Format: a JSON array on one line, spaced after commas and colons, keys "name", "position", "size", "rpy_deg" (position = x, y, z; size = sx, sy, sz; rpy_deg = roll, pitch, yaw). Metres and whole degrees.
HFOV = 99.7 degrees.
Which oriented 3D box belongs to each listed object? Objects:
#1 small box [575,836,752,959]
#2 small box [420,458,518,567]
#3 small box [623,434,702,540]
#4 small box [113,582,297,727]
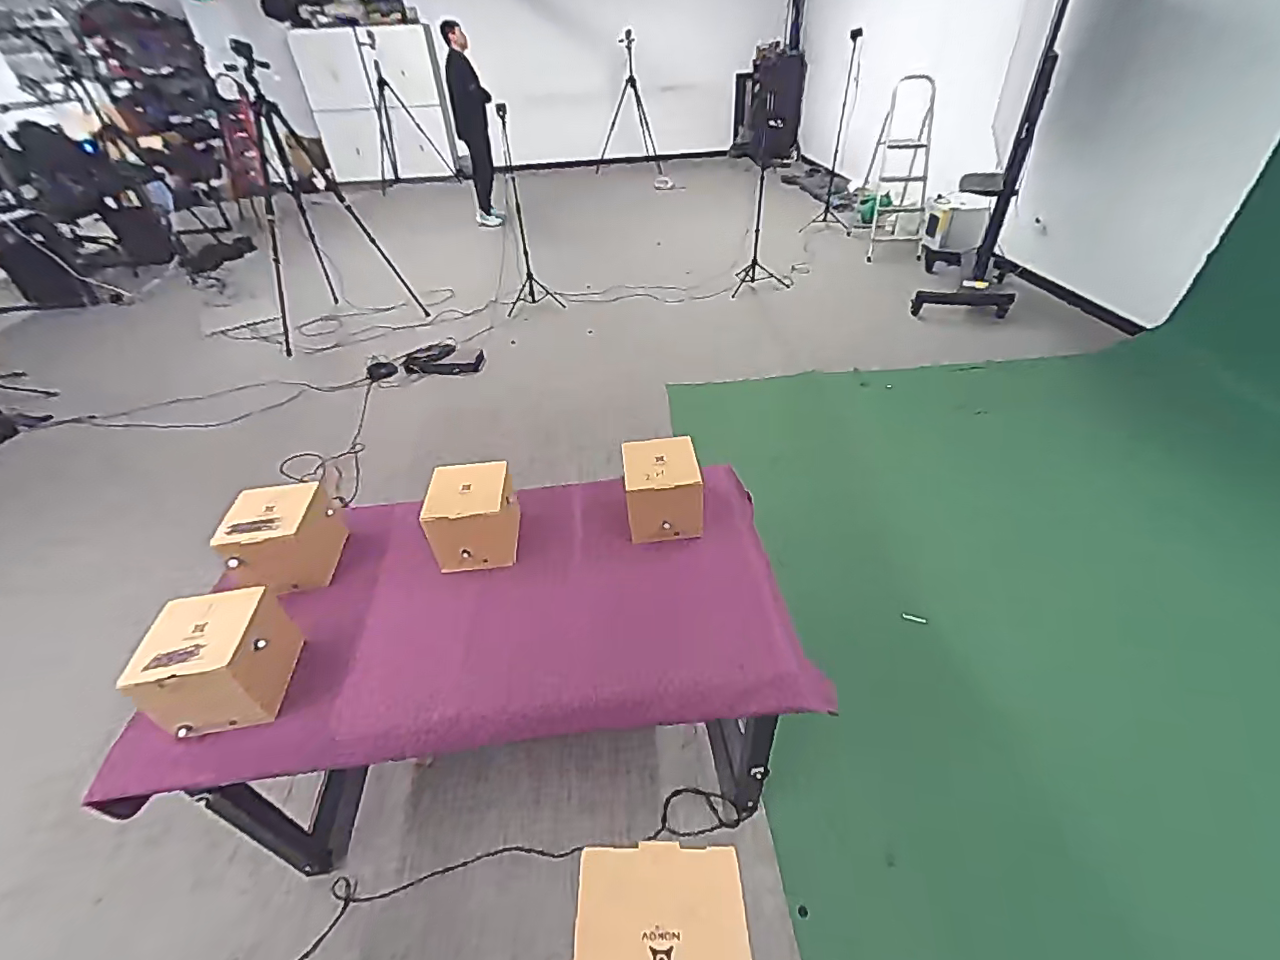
[{"name": "small box", "position": [0.019, 0.496, 0.548], "size": [0.168, 0.176, 0.179], "rpy_deg": [0, 34, -1]}, {"name": "small box", "position": [-0.374, 0.073, 1.217], "size": [0.168, 0.176, 0.179], "rpy_deg": [-5, 41, -3]}, {"name": "small box", "position": [0.050, 0.015, 1.255], "size": [0.168, 0.176, 0.179], "rpy_deg": [-6, 41, -1]}, {"name": "small box", "position": [-0.739, 0.310, 0.948], "size": [0.168, 0.176, 0.179], "rpy_deg": [-8, 38, -7]}]
